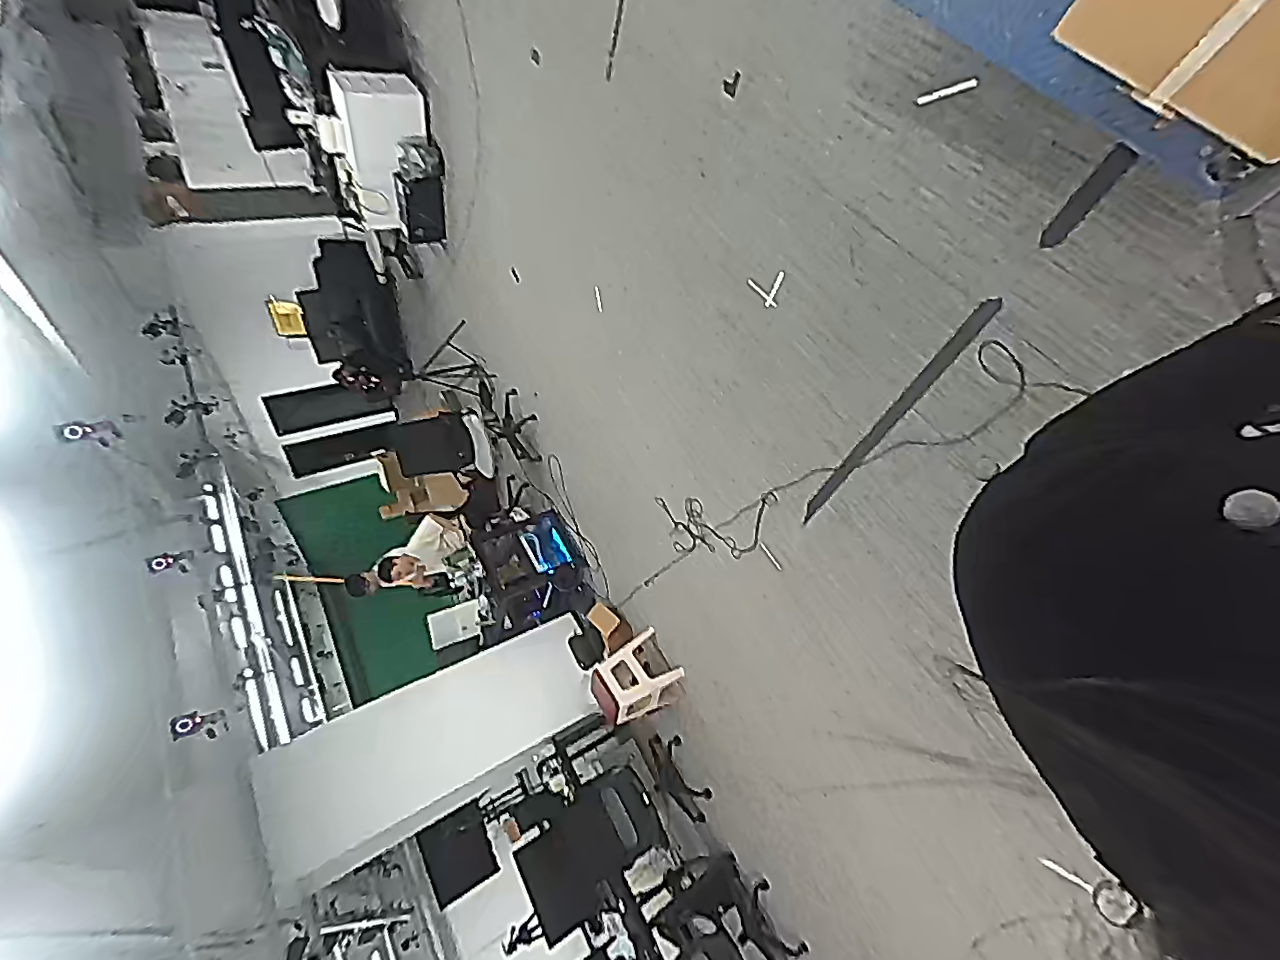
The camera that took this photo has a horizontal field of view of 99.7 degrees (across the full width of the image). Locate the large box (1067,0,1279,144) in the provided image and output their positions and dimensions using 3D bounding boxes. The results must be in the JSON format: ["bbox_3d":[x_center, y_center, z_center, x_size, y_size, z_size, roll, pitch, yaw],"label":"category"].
[{"bbox_3d":[0.808,-0.672,0.601,0.320,0.320,0.408,43,145,12],"label":"large box"}]
